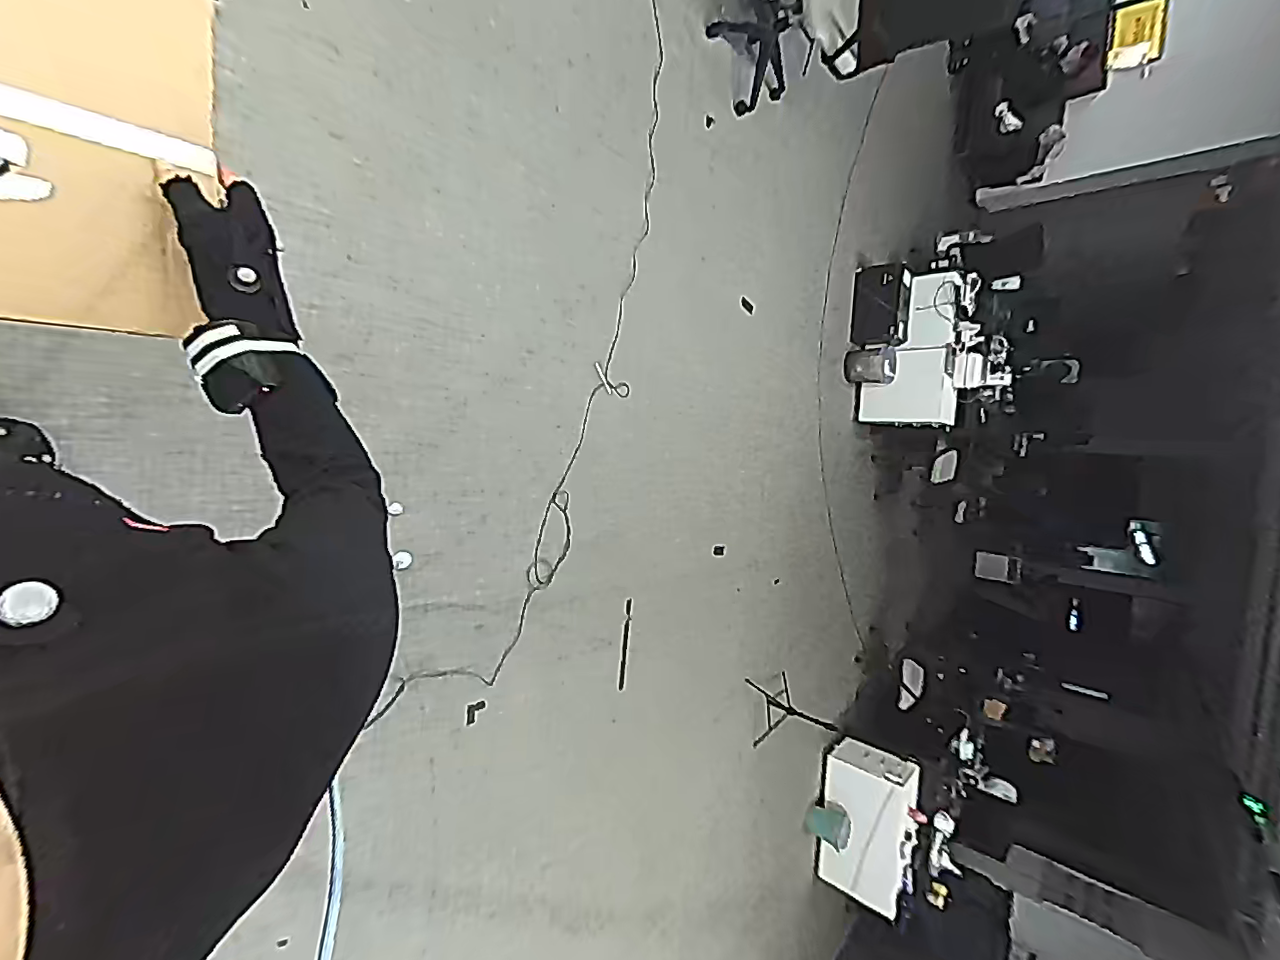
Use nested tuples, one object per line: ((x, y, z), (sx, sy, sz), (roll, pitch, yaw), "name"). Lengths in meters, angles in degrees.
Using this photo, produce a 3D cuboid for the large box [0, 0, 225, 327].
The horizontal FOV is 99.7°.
((-0.627, -0.311, 0.436), (0.408, 0.320, 0.320), (-6, 108, -50), "large box")
